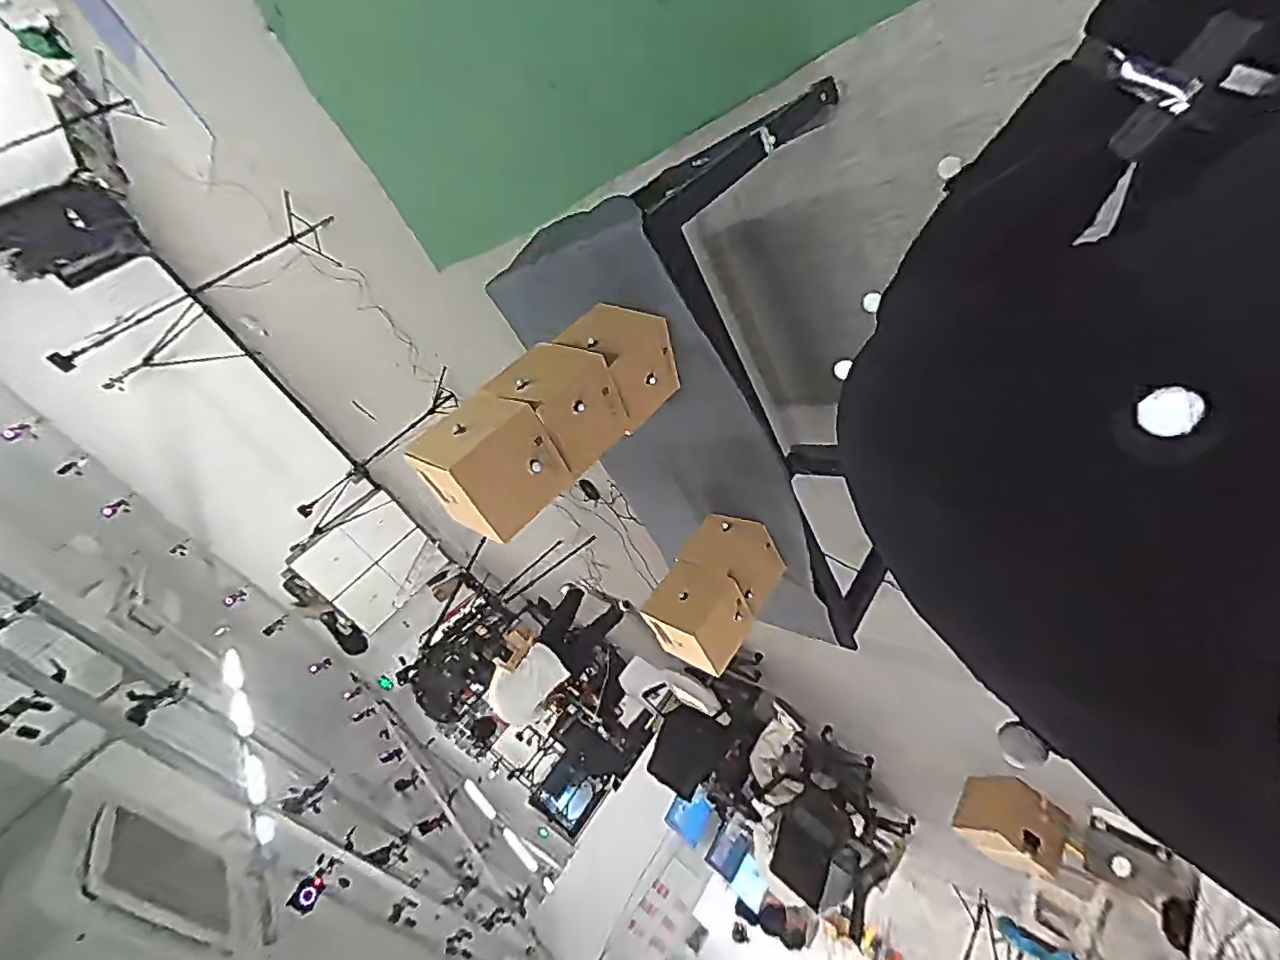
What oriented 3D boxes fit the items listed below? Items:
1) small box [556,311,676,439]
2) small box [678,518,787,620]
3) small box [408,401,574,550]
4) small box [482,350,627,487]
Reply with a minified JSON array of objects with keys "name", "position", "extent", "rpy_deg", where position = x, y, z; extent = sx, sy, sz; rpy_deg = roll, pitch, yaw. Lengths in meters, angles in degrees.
[{"name":"small box","position":[-0.043,-0.214,1.074],"extent":[0.179,0.176,0.168],"rpy_deg":[25,149,35]},{"name":"small box","position":[0.234,0.215,1.355],"extent":[0.179,0.176,0.168],"rpy_deg":[8,138,50]},{"name":"small box","position":[-0.245,-0.016,0.909],"extent":[0.179,0.176,0.168],"rpy_deg":[16,143,43]},{"name":"small box","position":[-0.145,-0.120,0.988],"extent":[0.179,0.176,0.168],"rpy_deg":[22,146,39]}]
